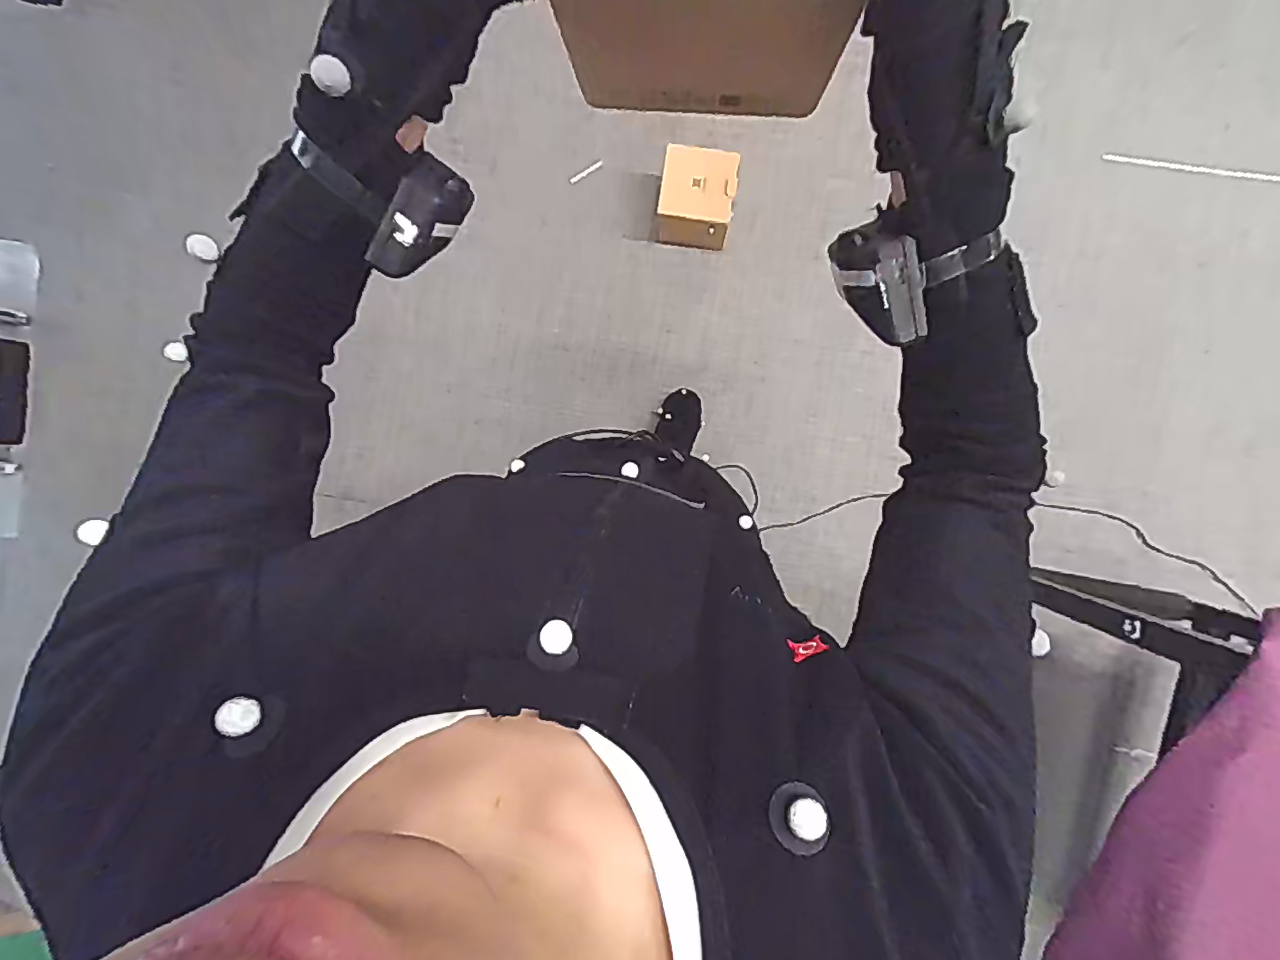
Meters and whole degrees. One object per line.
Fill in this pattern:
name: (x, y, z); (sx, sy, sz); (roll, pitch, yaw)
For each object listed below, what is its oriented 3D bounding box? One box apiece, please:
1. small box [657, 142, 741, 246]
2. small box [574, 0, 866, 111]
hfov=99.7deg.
small box: (0.141, -0.702, 1.346); (0.179, 0.176, 0.168); (9, 93, 2)
small box: (0.047, -0.343, 0.293); (0.168, 0.176, 0.179); (6, 99, 4)
